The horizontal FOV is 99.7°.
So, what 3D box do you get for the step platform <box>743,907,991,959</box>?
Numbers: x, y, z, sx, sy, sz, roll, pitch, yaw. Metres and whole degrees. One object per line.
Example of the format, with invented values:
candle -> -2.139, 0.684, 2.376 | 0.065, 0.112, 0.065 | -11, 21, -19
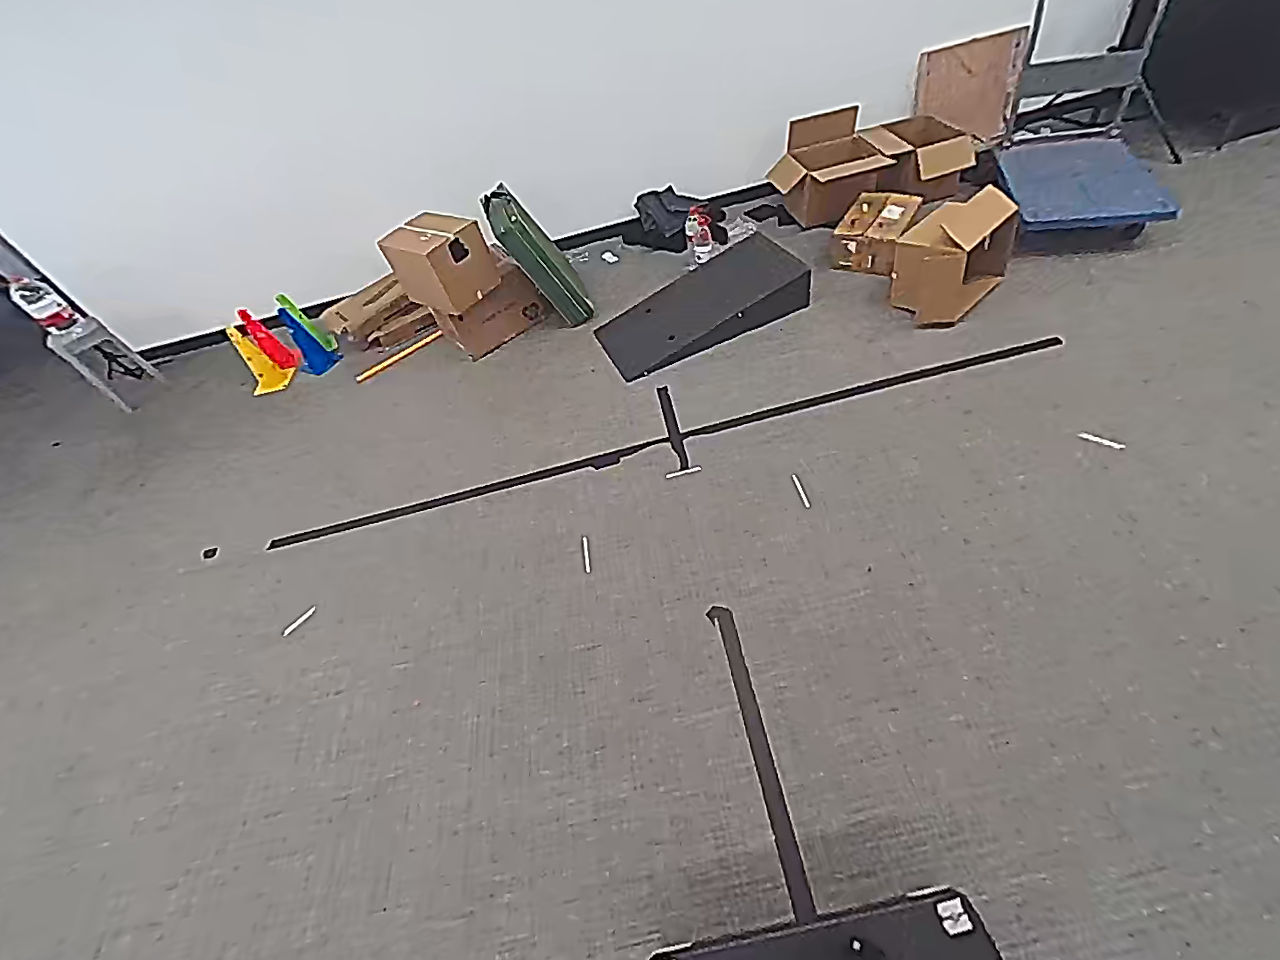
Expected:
step platform -> 0.349, 1.051, 1.013 | 0.684, 0.204, 0.286 | -14, 49, 0
